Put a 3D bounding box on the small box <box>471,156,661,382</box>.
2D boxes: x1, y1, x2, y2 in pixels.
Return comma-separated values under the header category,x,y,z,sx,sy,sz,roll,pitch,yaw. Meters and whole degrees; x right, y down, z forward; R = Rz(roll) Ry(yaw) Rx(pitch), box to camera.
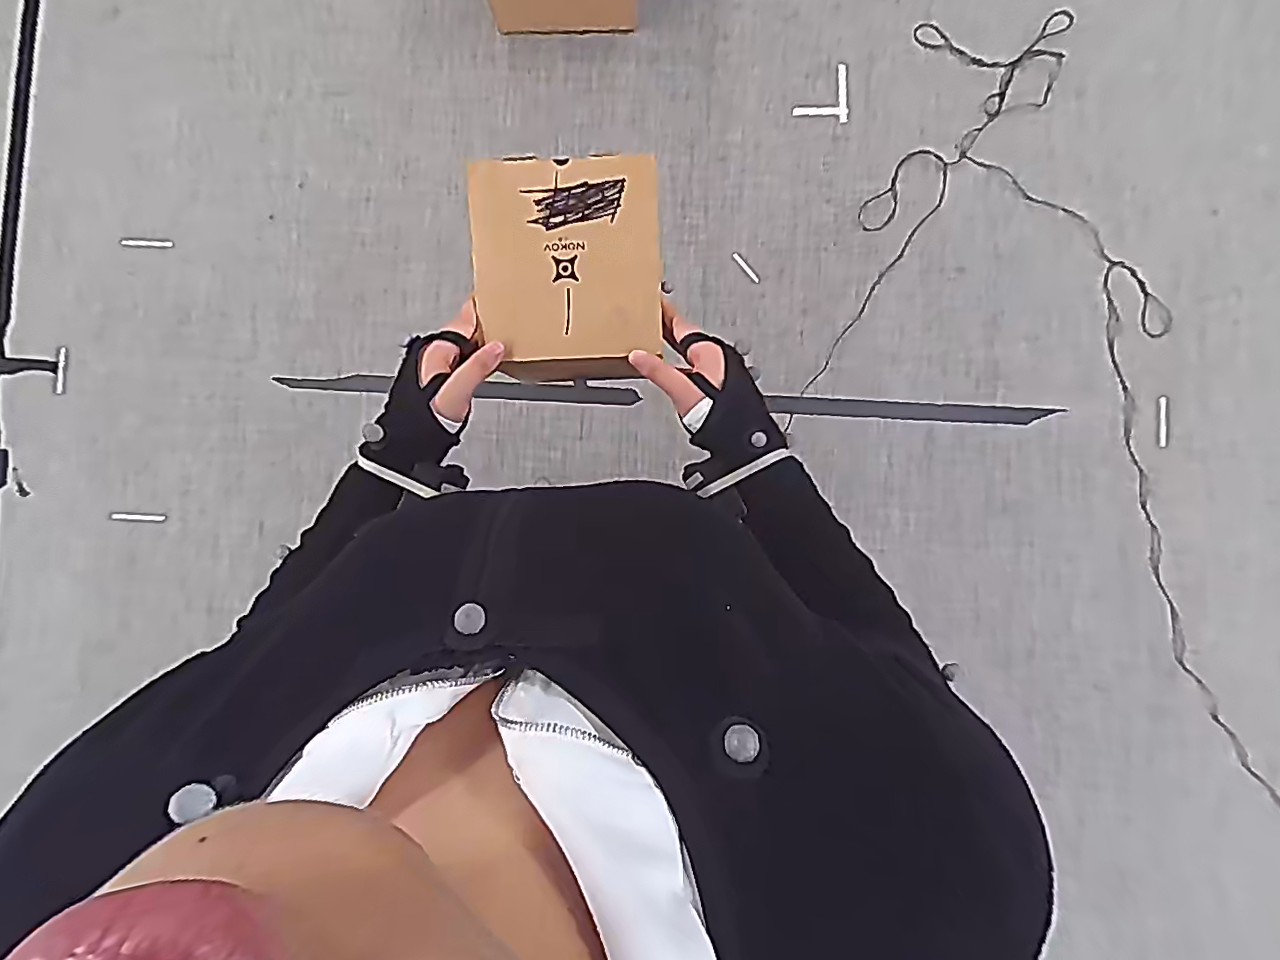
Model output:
category,x,y,z,sx,sy,sz,roll,pitch,yaw
small box,-0.065,-0.201,0.558,0.168,0.176,0.179,-2,94,1
